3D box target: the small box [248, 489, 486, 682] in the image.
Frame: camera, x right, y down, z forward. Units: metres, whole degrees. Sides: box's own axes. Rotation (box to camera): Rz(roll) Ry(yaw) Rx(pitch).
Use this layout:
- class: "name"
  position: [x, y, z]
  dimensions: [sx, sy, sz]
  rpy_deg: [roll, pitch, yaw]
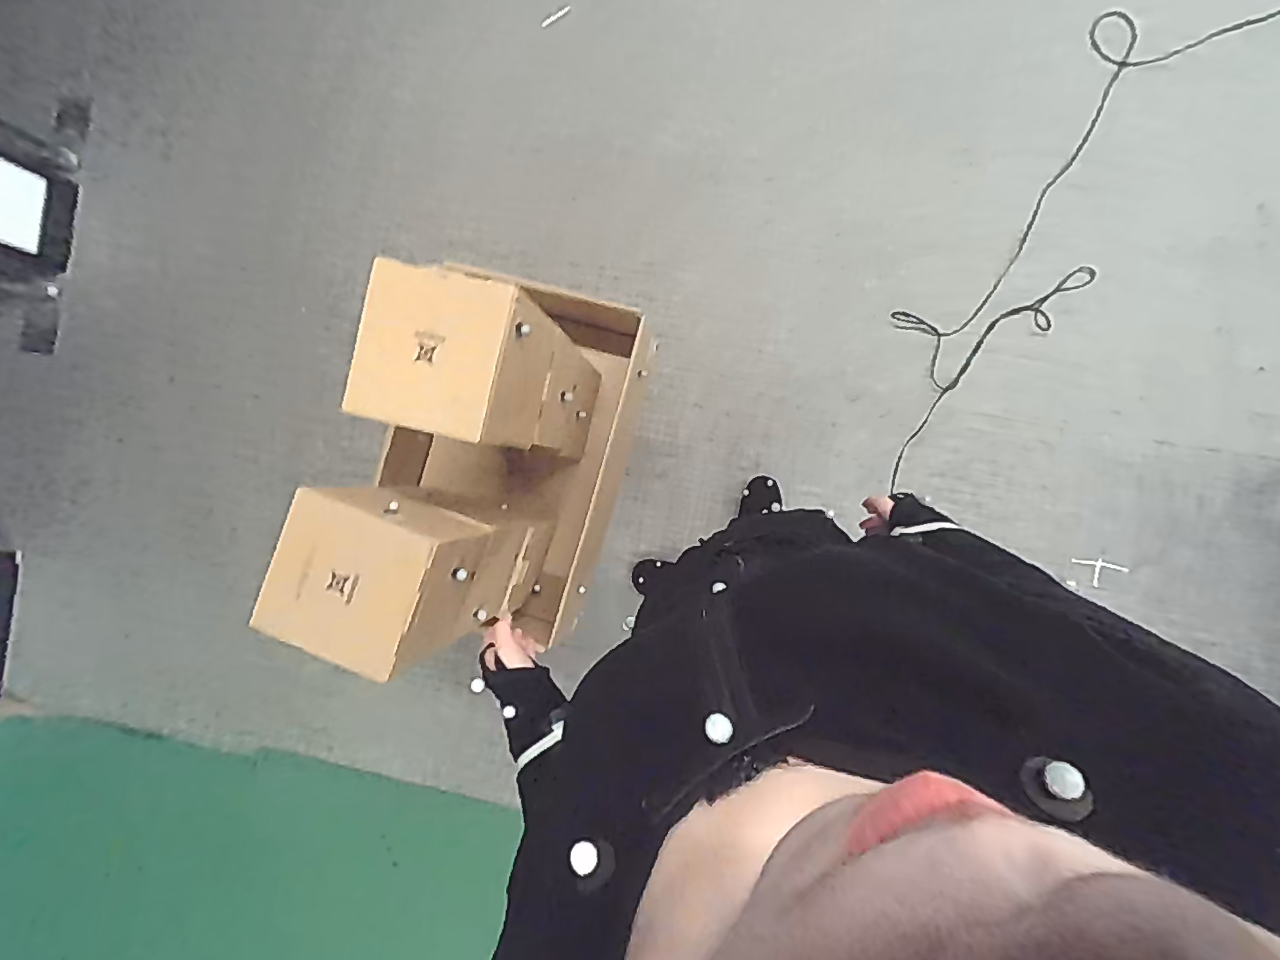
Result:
- class: "small box"
  position: [-0.318, 0.115, 0.668]
  dimensions: [0.179, 0.176, 0.168]
  rpy_deg: [21, 90, 6]

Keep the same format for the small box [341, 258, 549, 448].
- class: "small box"
  position: [-0.223, -0.141, 0.662]
  dimensions: [0.168, 0.176, 0.179]
  rpy_deg: [13, 91, 6]

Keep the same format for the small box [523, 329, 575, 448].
- class: "small box"
  position: [-0.209, -0.146, 0.825]
  dimensions: [0.179, 0.176, 0.168]
  rpy_deg: [13, 91, 4]
